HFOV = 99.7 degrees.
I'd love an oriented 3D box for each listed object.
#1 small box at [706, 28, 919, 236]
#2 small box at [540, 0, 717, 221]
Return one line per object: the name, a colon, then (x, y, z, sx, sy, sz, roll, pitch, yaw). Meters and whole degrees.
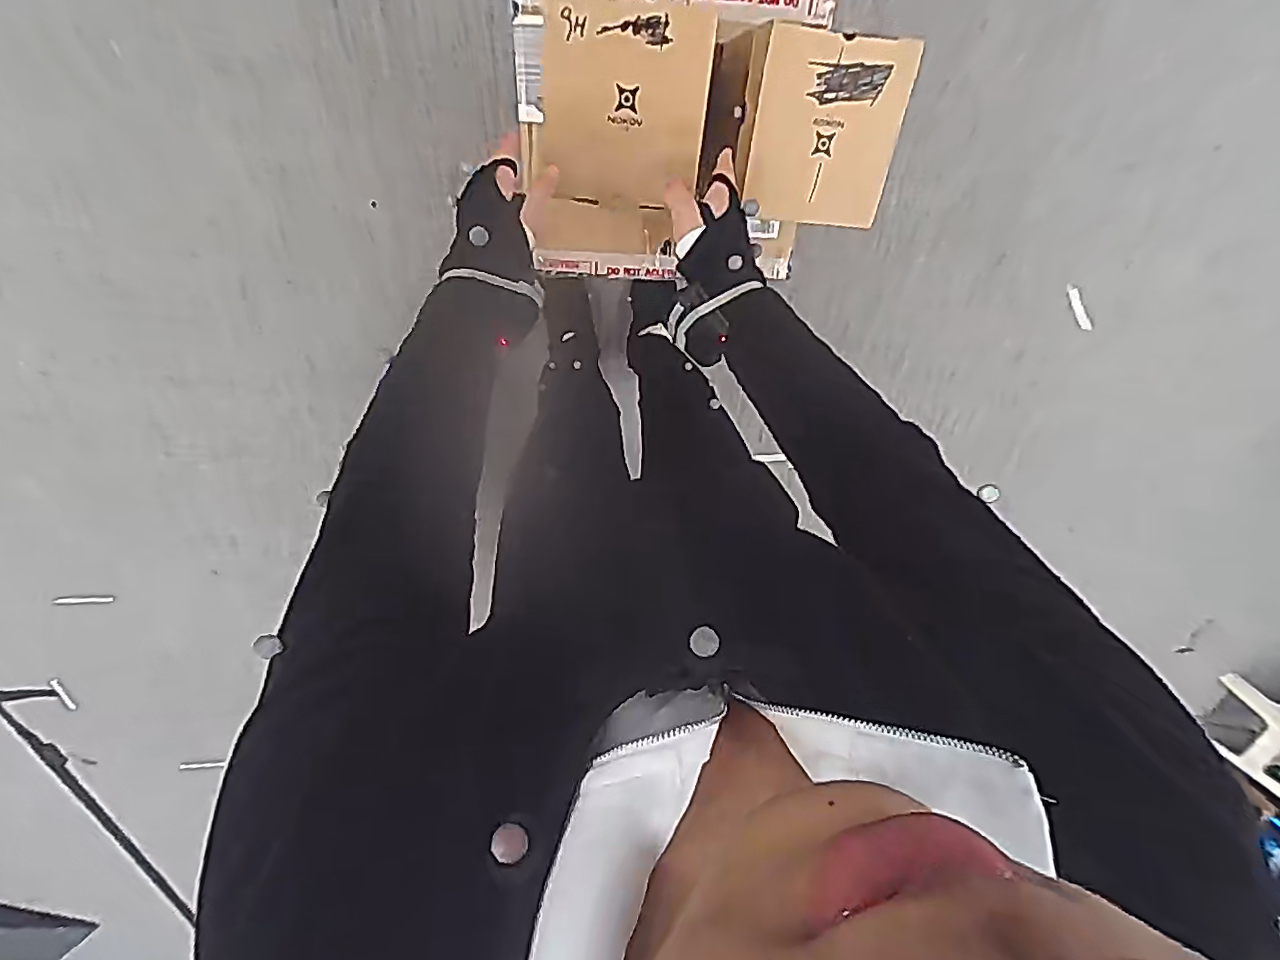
small box: (0.186, -0.405, 0.645, 0.168, 0.176, 0.179, 0, 123, -10)
small box: (-0.022, -0.409, 0.612, 0.168, 0.176, 0.179, 3, 123, -7)
